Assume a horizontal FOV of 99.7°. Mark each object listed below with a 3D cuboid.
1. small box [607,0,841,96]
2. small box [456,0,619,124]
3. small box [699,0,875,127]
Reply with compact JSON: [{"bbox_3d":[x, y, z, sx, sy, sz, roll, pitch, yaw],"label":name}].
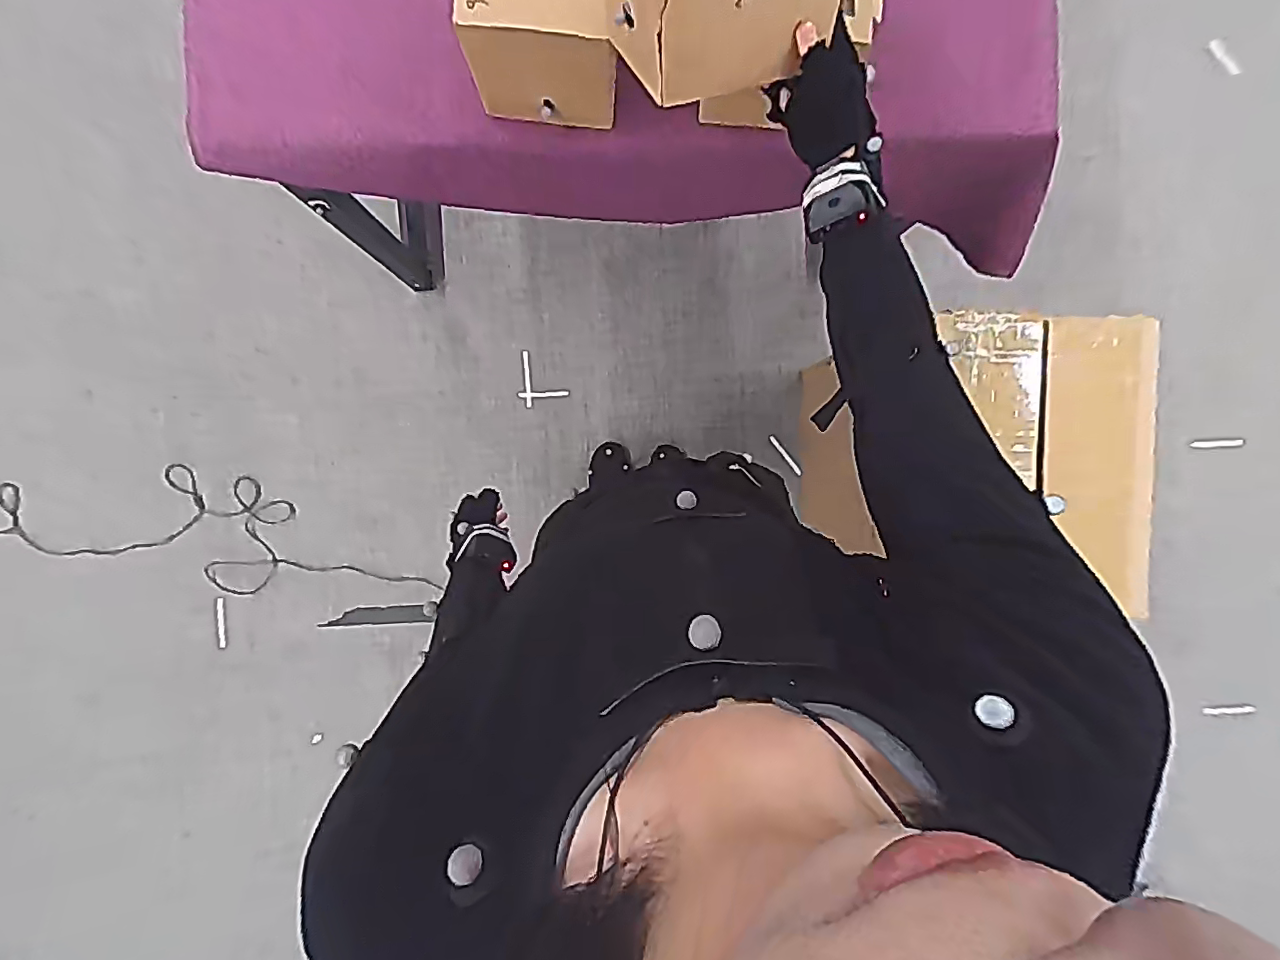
[{"bbox_3d":[0.070,-0.486,0.479,0.179,0.168,0.176,-20,63,-8],"label":"small box"},{"bbox_3d":[-0.115,-0.579,0.674,0.179,0.176,0.168,4,91,-3],"label":"small box"},{"bbox_3d":[0.177,-0.582,0.685,0.179,0.176,0.168,3,91,-2],"label":"small box"}]
